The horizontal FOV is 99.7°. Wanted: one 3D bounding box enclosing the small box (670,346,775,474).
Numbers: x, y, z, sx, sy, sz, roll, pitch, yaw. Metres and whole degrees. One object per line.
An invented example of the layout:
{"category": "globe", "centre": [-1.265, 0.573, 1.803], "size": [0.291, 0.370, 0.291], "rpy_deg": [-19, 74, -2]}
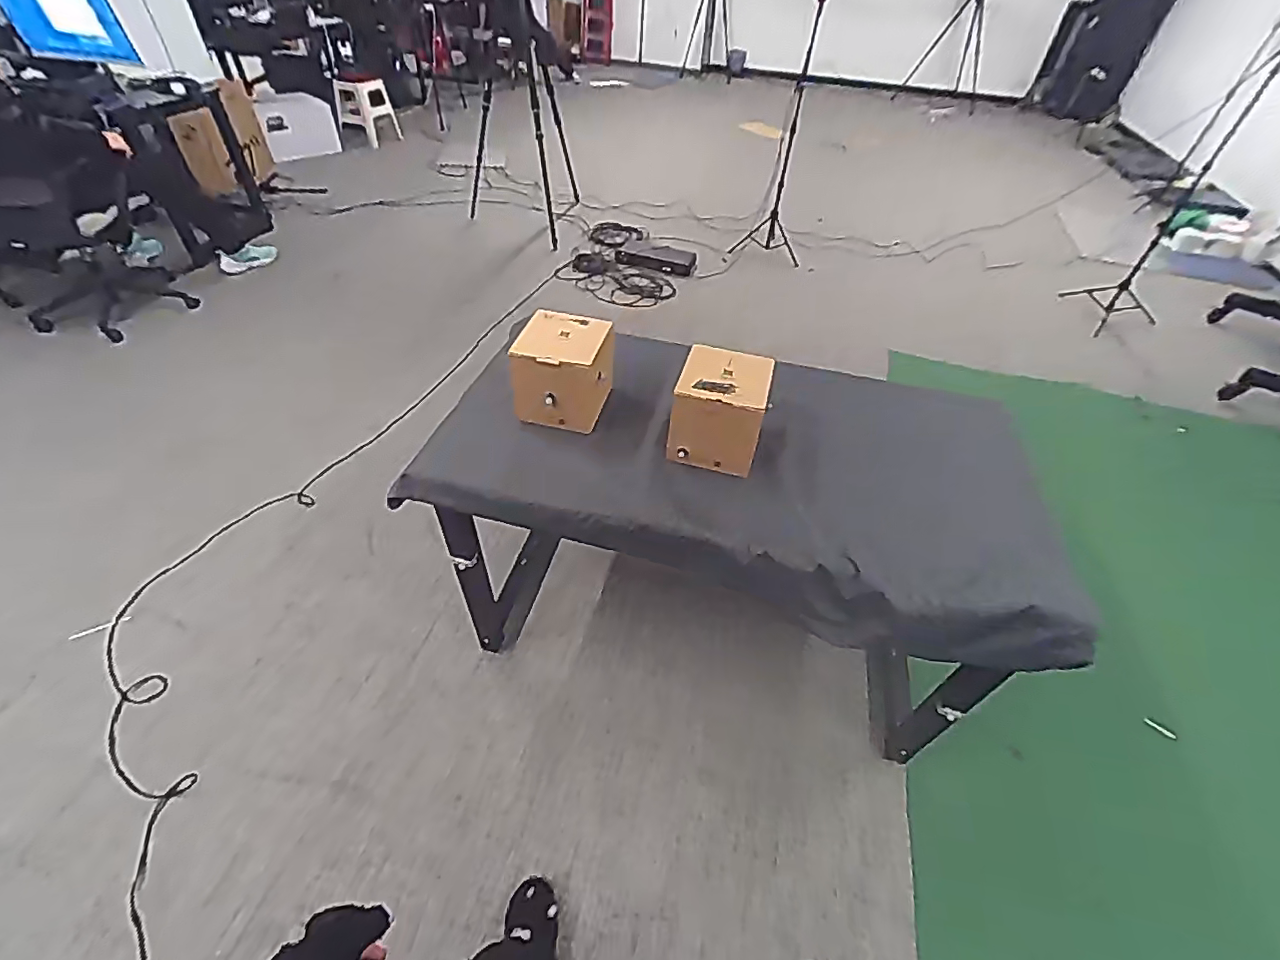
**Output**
{"category": "small box", "centre": [0.160, -0.137, 1.071], "size": [0.168, 0.176, 0.179], "rpy_deg": [14, 45, 10]}

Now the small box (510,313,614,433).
{"category": "small box", "centre": [-0.154, -0.222, 1.137], "size": [0.168, 0.176, 0.179], "rpy_deg": [11, 47, 7]}
